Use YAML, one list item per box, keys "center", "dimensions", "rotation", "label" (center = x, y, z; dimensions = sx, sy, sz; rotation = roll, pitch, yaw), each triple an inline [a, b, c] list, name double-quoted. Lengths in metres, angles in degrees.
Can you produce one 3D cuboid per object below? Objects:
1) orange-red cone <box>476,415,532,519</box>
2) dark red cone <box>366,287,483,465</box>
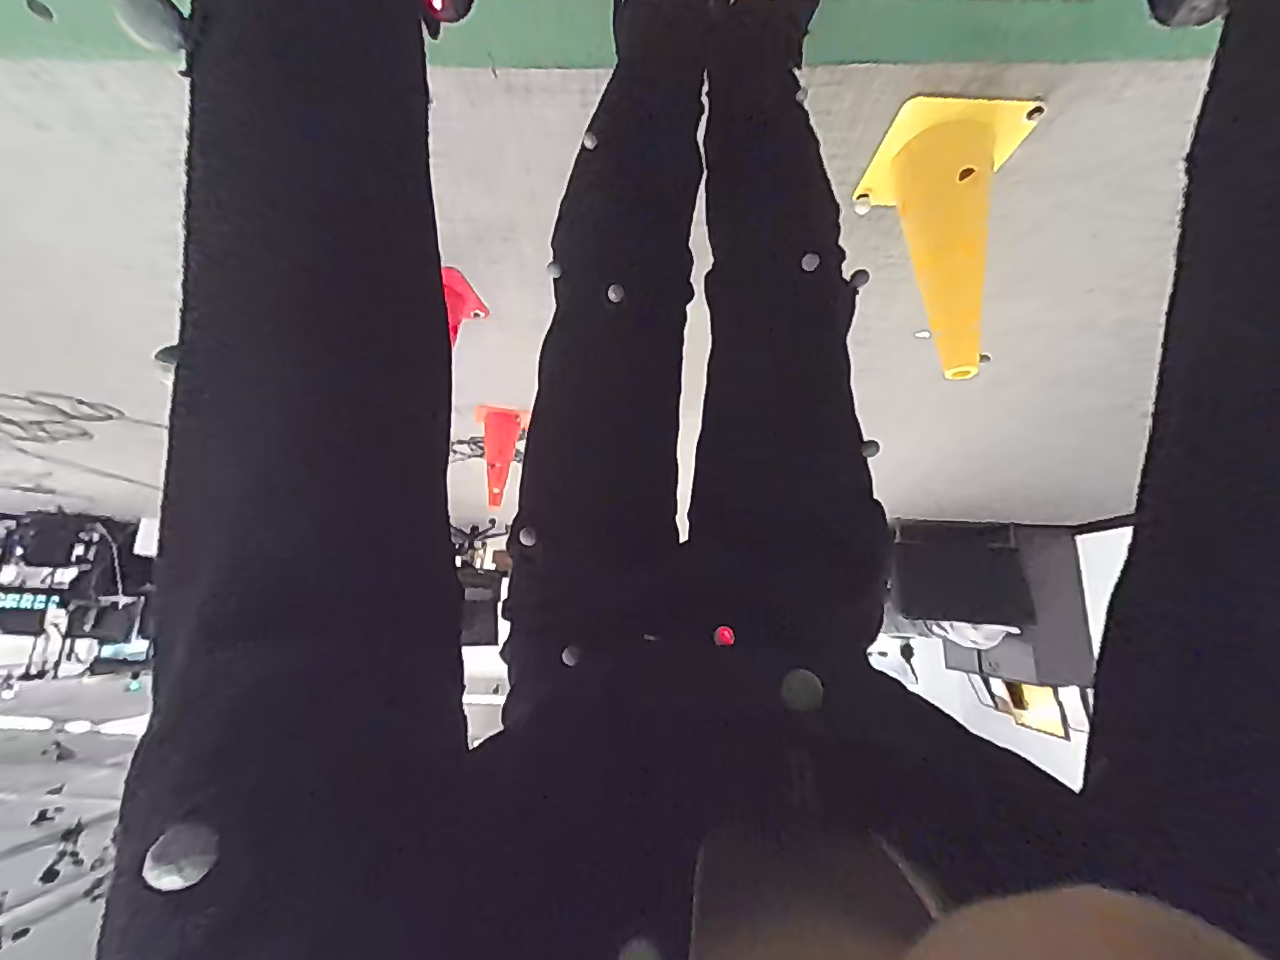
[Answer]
- center: [-0.526, -0.036, 1.998]
  dimensions: [0.199, 0.360, 0.198]
  rotation: [8, 164, -17]
  label: "orange-red cone"
- center: [-0.491, -0.221, 1.183]
  dimensions: [0.202, 0.394, 0.201]
  rotation: [0, 163, 9]
  label: "dark red cone"
